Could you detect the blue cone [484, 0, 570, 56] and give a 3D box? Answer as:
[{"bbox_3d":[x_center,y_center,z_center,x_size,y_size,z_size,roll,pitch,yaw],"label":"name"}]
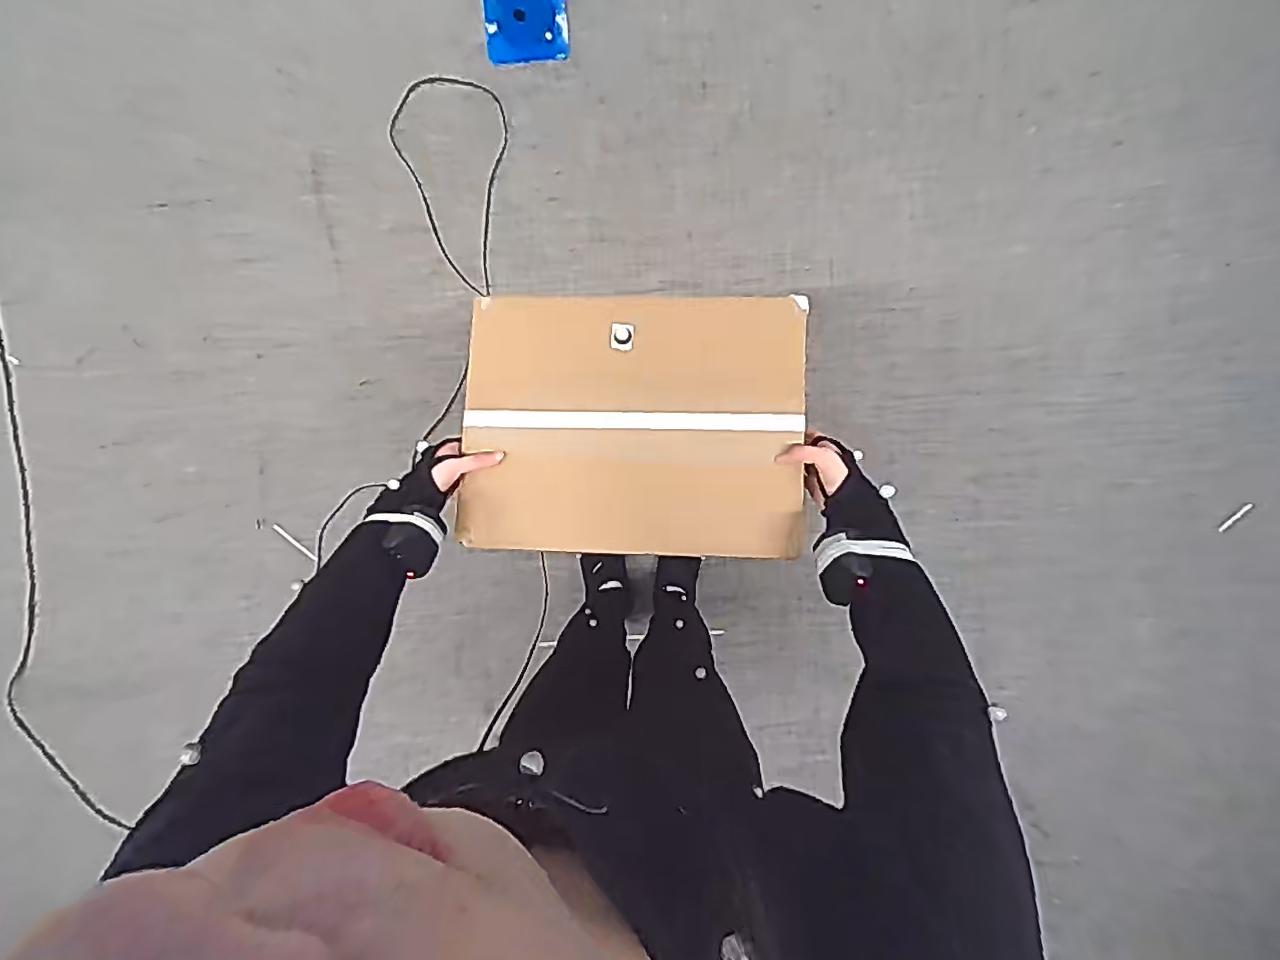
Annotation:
[{"bbox_3d":[-0.266,-1.091,1.104,0.193,0.380,0.192,-7,95,0],"label":"blue cone"}]
